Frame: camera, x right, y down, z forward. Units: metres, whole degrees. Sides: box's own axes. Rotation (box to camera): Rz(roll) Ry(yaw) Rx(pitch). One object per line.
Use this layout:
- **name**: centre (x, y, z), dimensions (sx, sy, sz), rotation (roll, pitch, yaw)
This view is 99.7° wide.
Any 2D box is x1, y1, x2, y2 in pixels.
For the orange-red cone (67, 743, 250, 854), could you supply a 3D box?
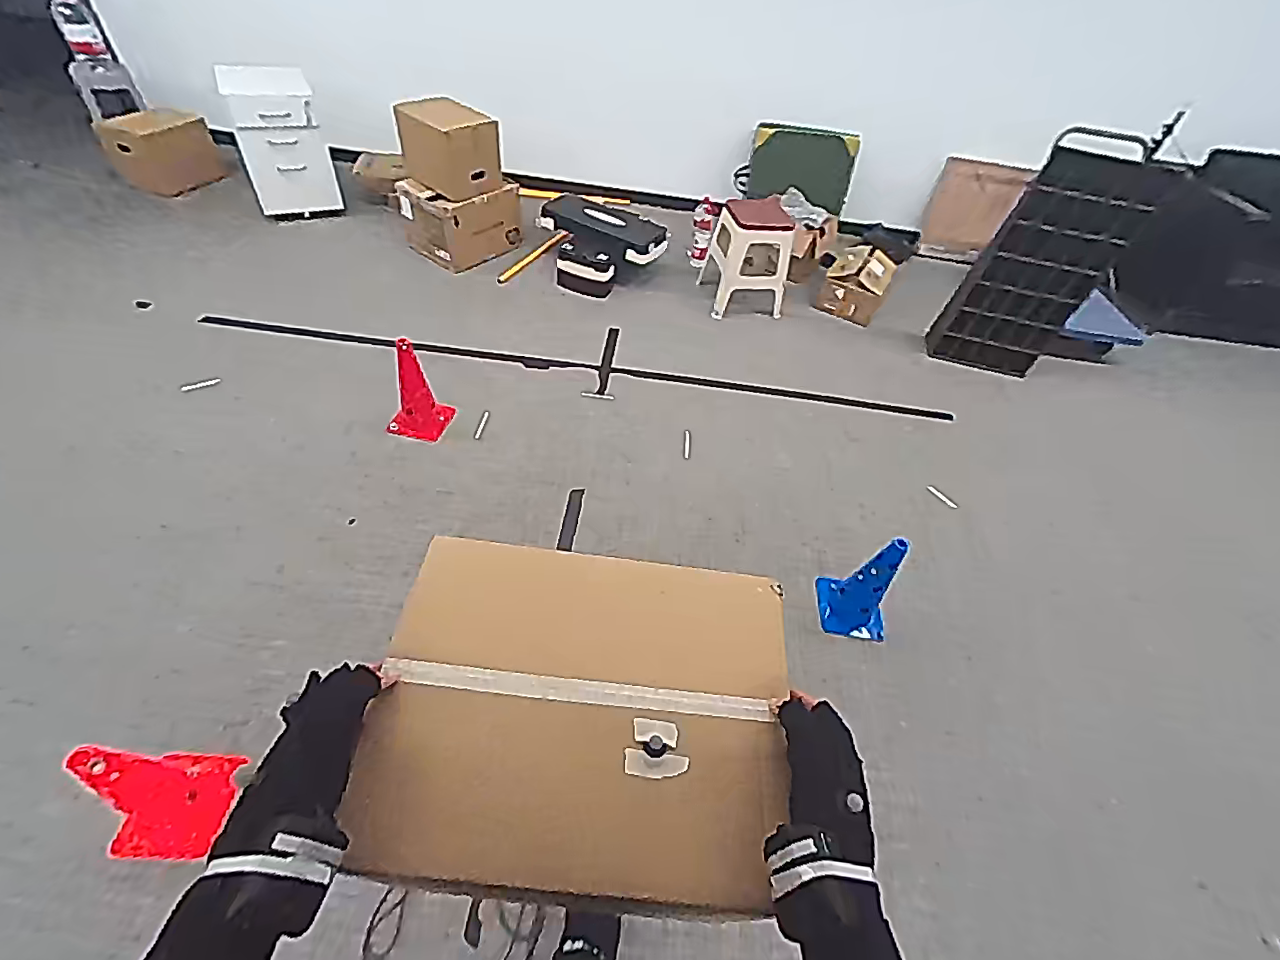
- **orange-red cone**: centre (-0.984, 0.591, 1.065), dimensions (0.198, 0.360, 0.199), rotation (5, 49, -2)

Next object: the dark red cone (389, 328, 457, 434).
- **dark red cone**: centre (-0.797, -0.362, 1.929), dimensions (0.201, 0.394, 0.202), rotation (13, 48, 2)

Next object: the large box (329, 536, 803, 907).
- **large box**: centre (-0.068, 0.299, 0.653), dimensions (0.408, 0.320, 0.320), rotation (8, 50, -3)

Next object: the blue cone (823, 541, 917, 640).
- **blue cone**: centre (0.699, 0.303, 1.600), dimensions (0.192, 0.380, 0.193), rotation (11, 47, 0)
